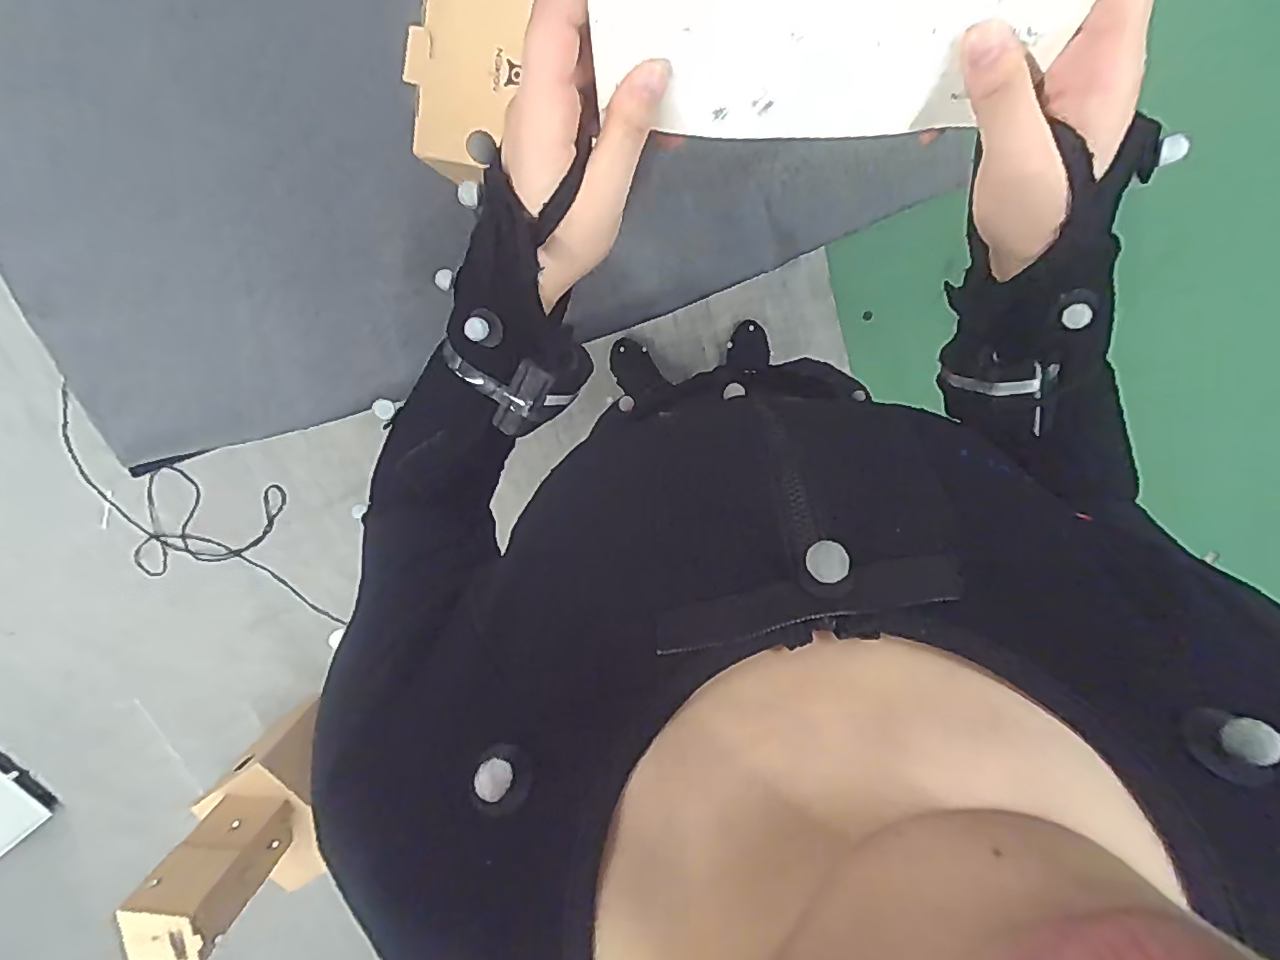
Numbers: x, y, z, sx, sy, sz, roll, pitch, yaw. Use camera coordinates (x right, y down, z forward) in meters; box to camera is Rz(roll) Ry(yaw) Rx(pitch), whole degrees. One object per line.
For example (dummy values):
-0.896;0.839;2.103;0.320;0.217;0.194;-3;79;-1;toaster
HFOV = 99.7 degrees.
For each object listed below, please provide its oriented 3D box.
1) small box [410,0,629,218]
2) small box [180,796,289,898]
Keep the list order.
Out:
-0.113;-0.387;0.565;0.179;0.176;0.168;12;106;1;small box
-1.092;0.997;1.477;0.179;0.176;0.168;4;106;0;small box
